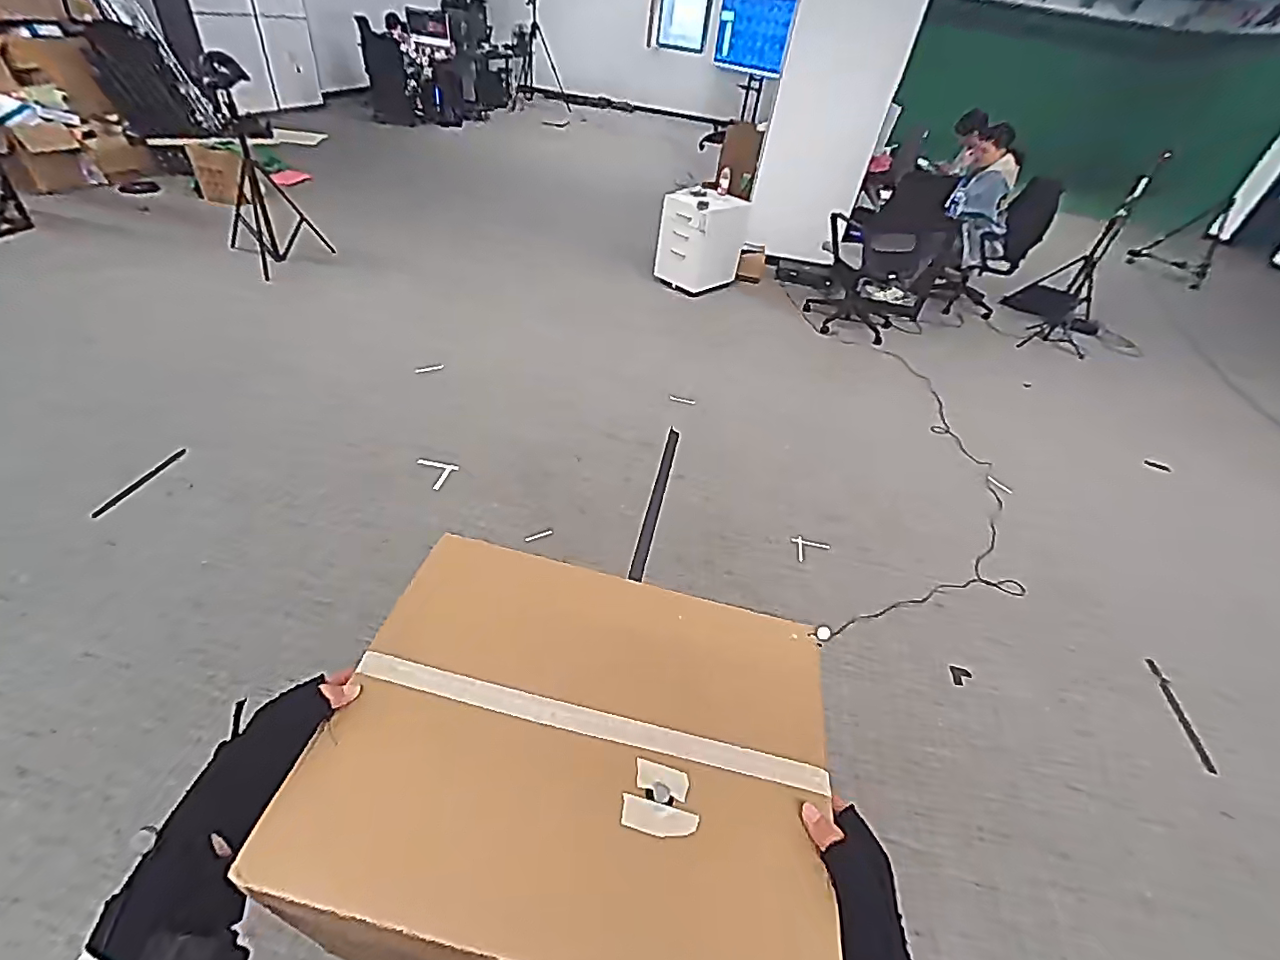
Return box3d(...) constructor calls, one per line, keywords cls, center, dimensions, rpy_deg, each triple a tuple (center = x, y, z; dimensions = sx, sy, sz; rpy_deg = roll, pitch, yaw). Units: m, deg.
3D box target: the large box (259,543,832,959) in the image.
box3d(cls="large box", center=(-0.066, 0.318, 0.565), dimensions=(0.408, 0.320, 0.320), rpy_deg=(14, 42, 1))
